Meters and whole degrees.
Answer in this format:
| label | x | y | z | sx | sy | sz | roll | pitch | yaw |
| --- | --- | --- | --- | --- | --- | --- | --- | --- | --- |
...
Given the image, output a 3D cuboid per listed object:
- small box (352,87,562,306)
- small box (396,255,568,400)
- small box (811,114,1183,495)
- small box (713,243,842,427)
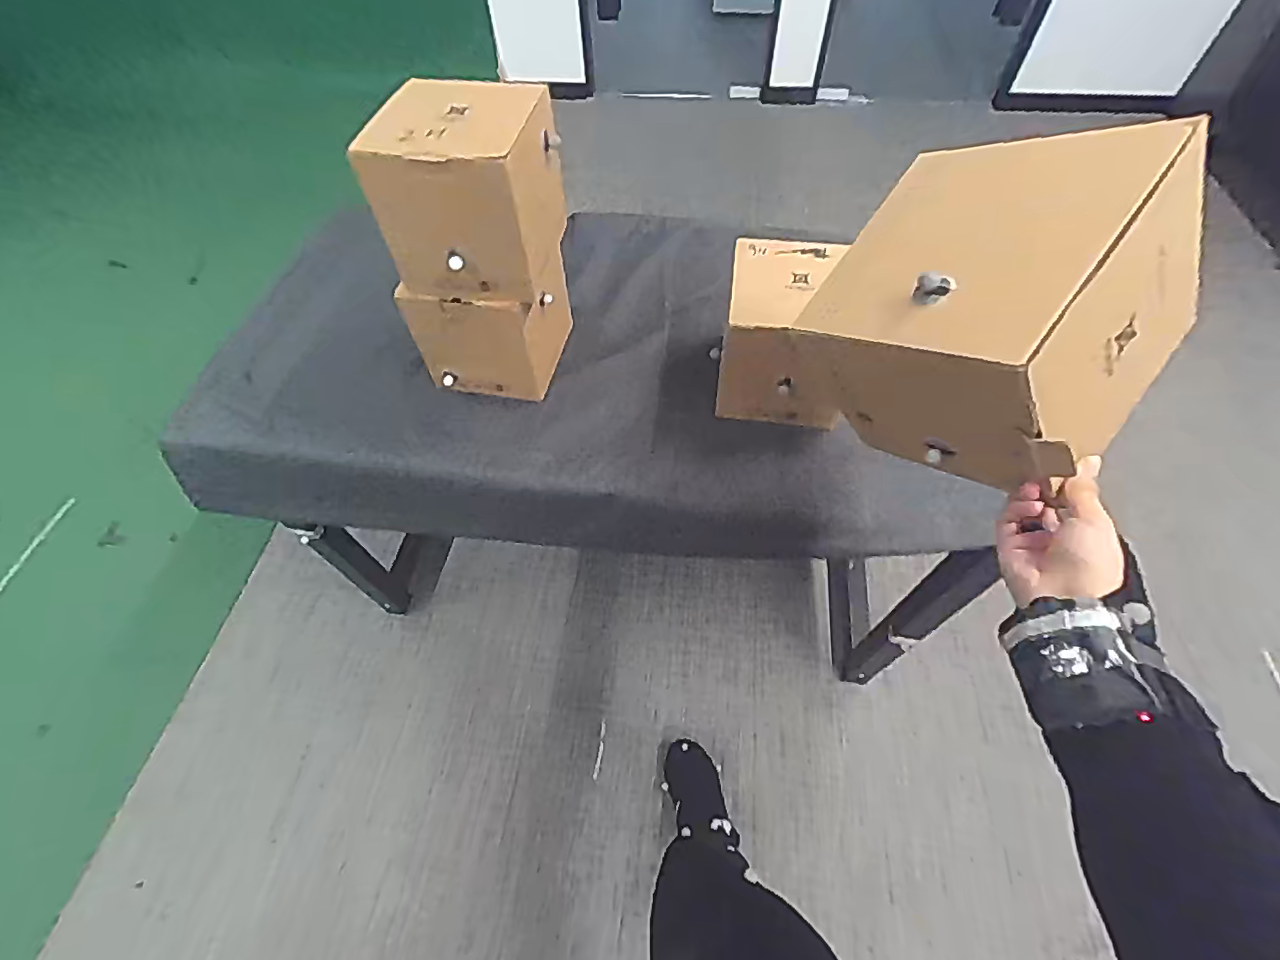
| label | x | y | z | sx | sy | sz | roll | pitch | yaw |
| --- | --- | --- | --- | --- | --- | --- | --- | --- | --- |
| small box | -0.196 | -0.335 | 0.645 | 0.168 | 0.176 | 0.179 | 6 | 56 | 6 |
| small box | -0.209 | -0.238 | 0.778 | 0.168 | 0.176 | 0.179 | 9 | 56 | 7 |
| small box | 0.255 | -0.123 | 0.407 | 0.179 | 0.168 | 0.176 | -54 | 39 | -4 |
| small box | 0.192 | -0.192 | 0.736 | 0.168 | 0.176 | 0.179 | 7 | 57 | 6 |
